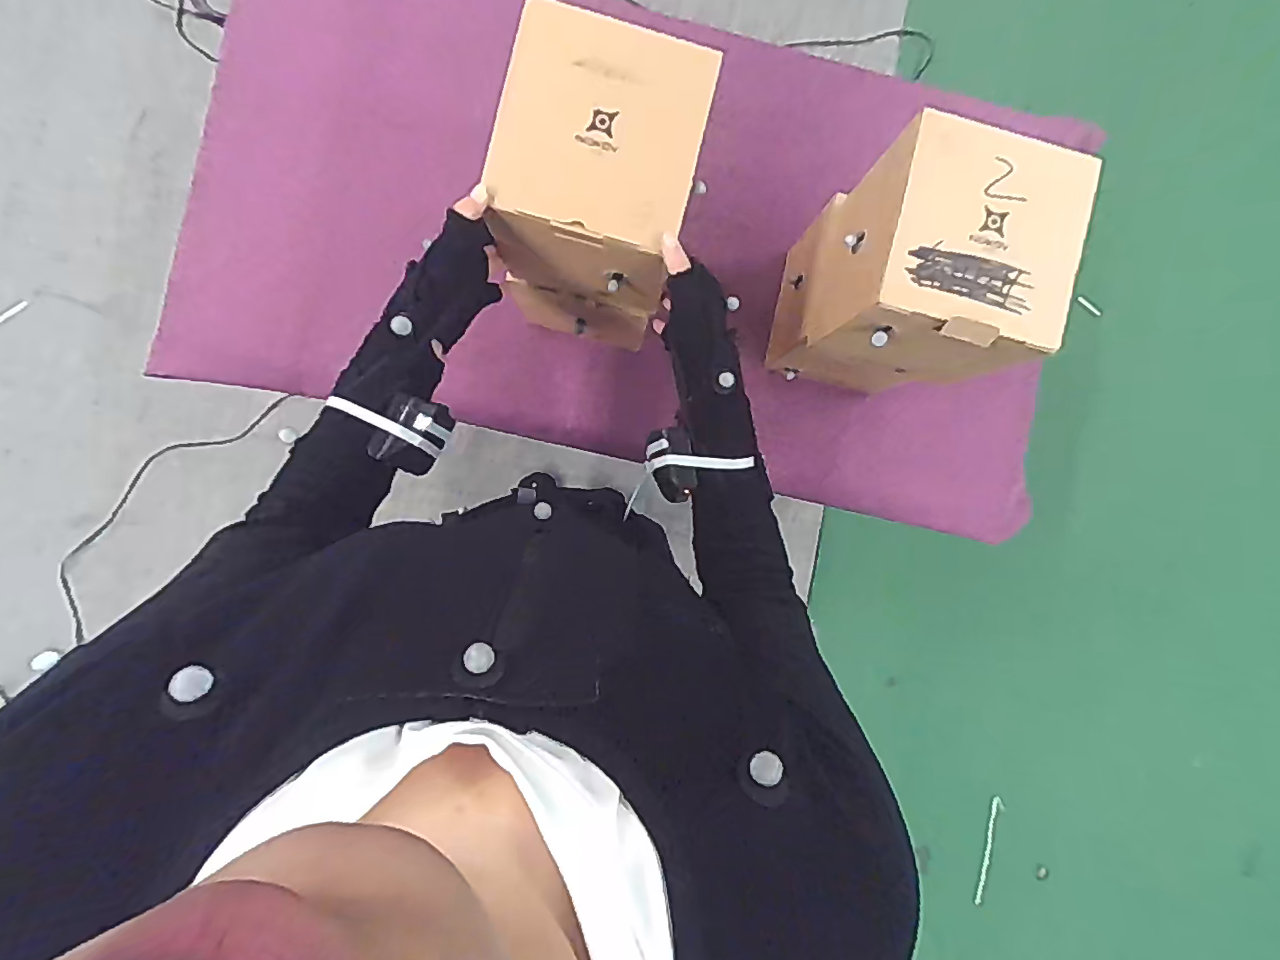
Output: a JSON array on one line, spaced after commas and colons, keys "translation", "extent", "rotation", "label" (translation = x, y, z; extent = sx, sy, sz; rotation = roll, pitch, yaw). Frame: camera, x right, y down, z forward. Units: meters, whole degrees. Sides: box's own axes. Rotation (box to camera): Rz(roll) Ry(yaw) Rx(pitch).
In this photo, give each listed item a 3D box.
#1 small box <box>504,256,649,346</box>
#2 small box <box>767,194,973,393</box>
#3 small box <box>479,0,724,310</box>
[{"translation": [-0.056, -0.284, 0.676], "extent": [0.168, 0.176, 0.179], "rotation": [15, 90, -5], "label": "small box"}, {"translation": [0.280, -0.222, 0.700], "extent": [0.168, 0.176, 0.179], "rotation": [16, 90, -6], "label": "small box"}, {"translation": [-0.035, -0.283, 0.514], "extent": [0.168, 0.176, 0.179], "rotation": [14, 90, -5], "label": "small box"}]
